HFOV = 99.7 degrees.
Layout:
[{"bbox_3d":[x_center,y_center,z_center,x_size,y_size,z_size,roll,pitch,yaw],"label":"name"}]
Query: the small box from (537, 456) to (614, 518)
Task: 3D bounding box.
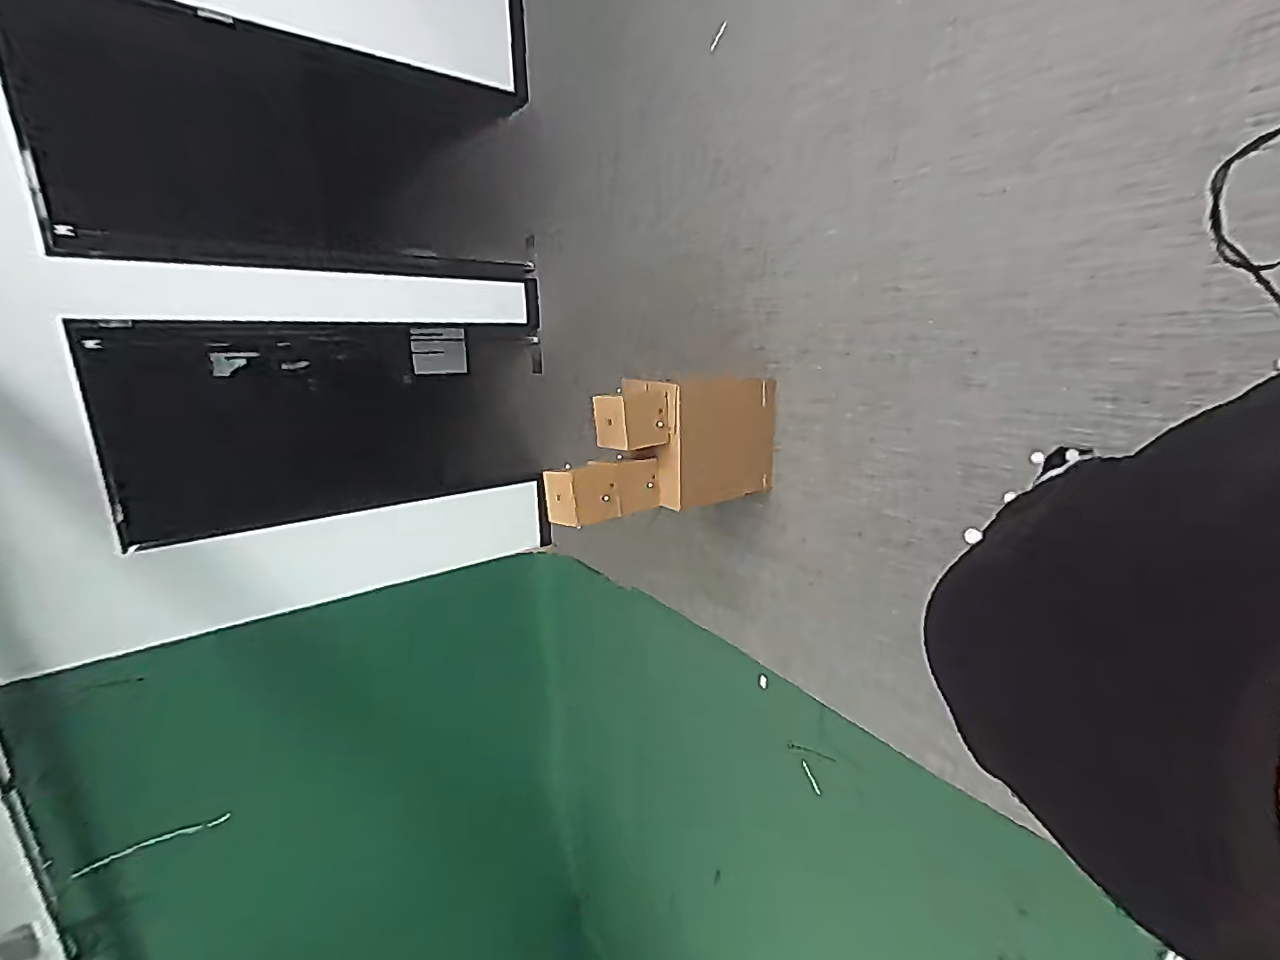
[{"bbox_3d":[-0.202,0.017,1.697,0.179,0.176,0.168,3,101,51],"label":"small box"}]
